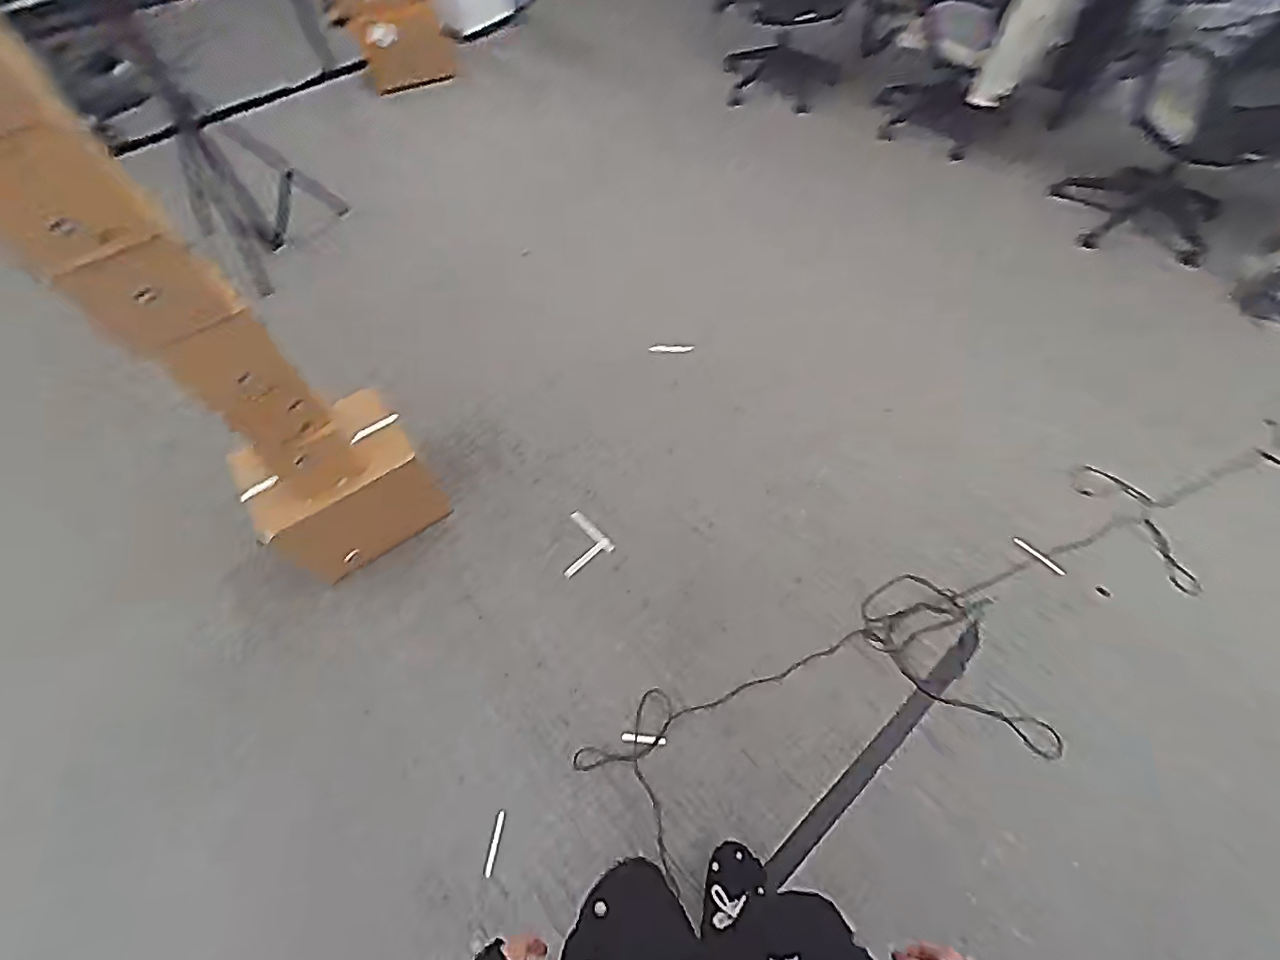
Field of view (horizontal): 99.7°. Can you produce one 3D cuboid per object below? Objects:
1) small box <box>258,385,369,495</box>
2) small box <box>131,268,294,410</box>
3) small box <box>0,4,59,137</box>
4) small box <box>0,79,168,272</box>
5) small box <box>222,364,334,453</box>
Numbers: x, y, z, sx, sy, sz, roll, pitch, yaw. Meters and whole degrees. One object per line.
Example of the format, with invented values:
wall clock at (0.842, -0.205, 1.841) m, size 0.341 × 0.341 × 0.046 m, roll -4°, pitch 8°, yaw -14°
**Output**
small box at (-0.808, -0.093, 1.331) m, size 0.179 × 0.176 × 0.168 m, roll -29°, pitch 62°, yaw -17°
small box at (-0.821, -0.274, 1.061) m, size 0.179 × 0.176 × 0.168 m, roll -38°, pitch 65°, yaw -21°
small box at (-0.846, -0.517, 0.634) m, size 0.179 × 0.176 × 0.168 m, roll -31°, pitch 63°, yaw -16°
small box at (-0.842, -0.435, 0.776) m, size 0.168 × 0.176 × 0.179 m, roll -36°, pitch 65°, yaw -19°
small box at (-0.825, -0.186, 1.198) m, size 0.179 × 0.176 × 0.168 m, roll 36°, pitch 65°, yaw 22°
